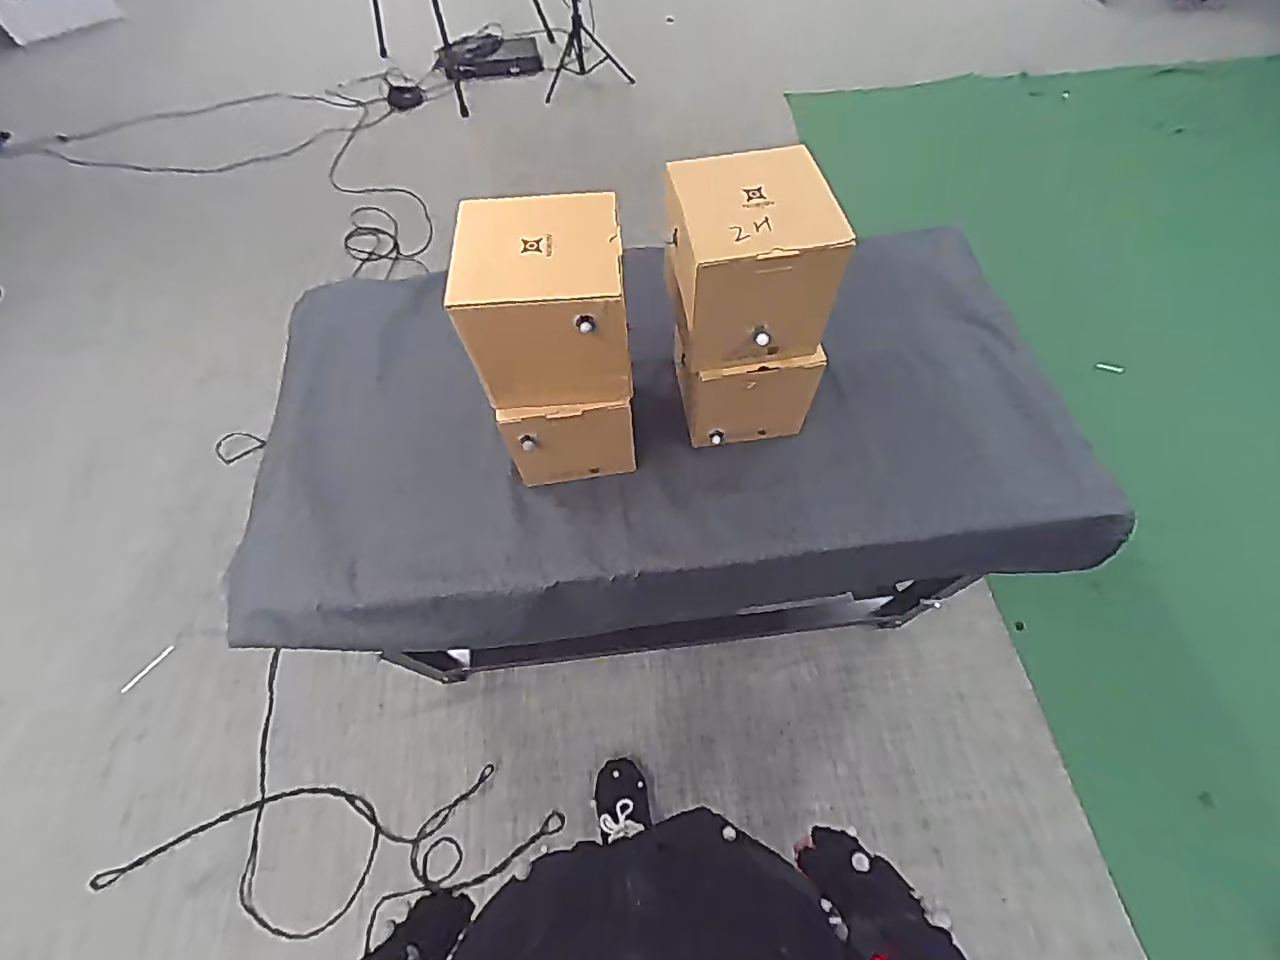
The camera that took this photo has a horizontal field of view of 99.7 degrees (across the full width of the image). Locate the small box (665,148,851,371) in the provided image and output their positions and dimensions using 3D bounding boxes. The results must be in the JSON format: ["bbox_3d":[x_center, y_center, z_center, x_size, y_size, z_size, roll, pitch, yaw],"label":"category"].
[{"bbox_3d":[0.124,-0.259,0.651,0.168,0.176,0.179,-10,62,-2],"label":"small box"}]

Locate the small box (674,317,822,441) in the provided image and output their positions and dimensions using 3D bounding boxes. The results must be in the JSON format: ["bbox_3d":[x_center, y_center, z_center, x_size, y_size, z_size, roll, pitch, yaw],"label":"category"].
[{"bbox_3d":[0.144,-0.170,0.789,0.168,0.176,0.179,-8,61,-2],"label":"small box"}]

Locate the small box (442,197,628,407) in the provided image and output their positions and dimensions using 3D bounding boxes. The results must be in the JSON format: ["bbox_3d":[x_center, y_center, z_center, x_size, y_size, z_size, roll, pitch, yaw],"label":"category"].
[{"bbox_3d":[-0.107,-0.198,0.630,0.179,0.176,0.168,-4,60,-1],"label":"small box"}]
